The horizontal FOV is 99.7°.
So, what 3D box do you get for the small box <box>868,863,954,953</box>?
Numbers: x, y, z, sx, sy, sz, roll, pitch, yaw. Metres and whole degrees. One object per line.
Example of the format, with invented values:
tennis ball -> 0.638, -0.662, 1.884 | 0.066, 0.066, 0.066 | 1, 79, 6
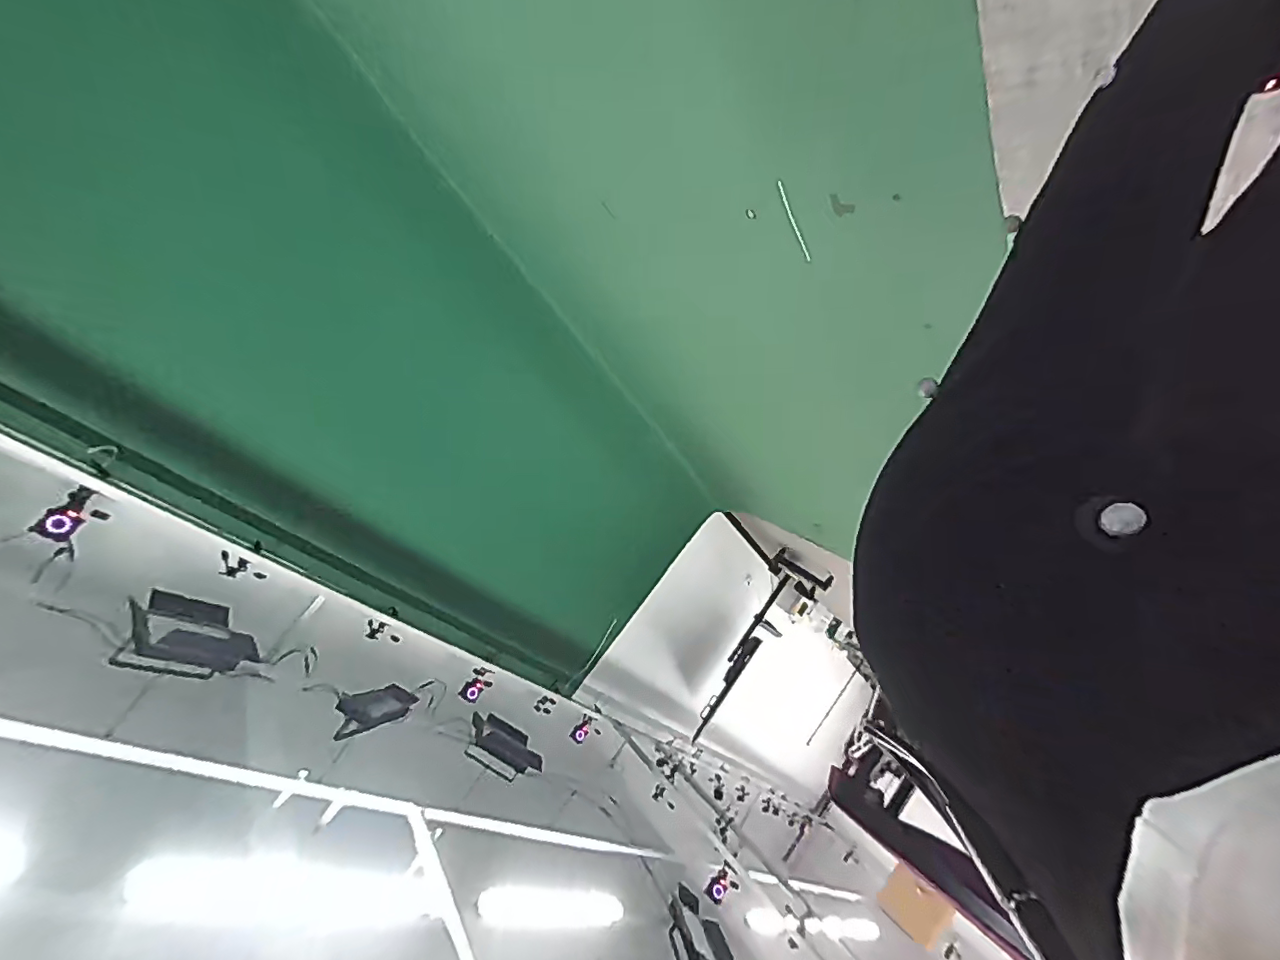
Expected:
small box -> 0.891, 1.394, 1.773 | 0.179, 0.176, 0.168 | 28, 168, 49
